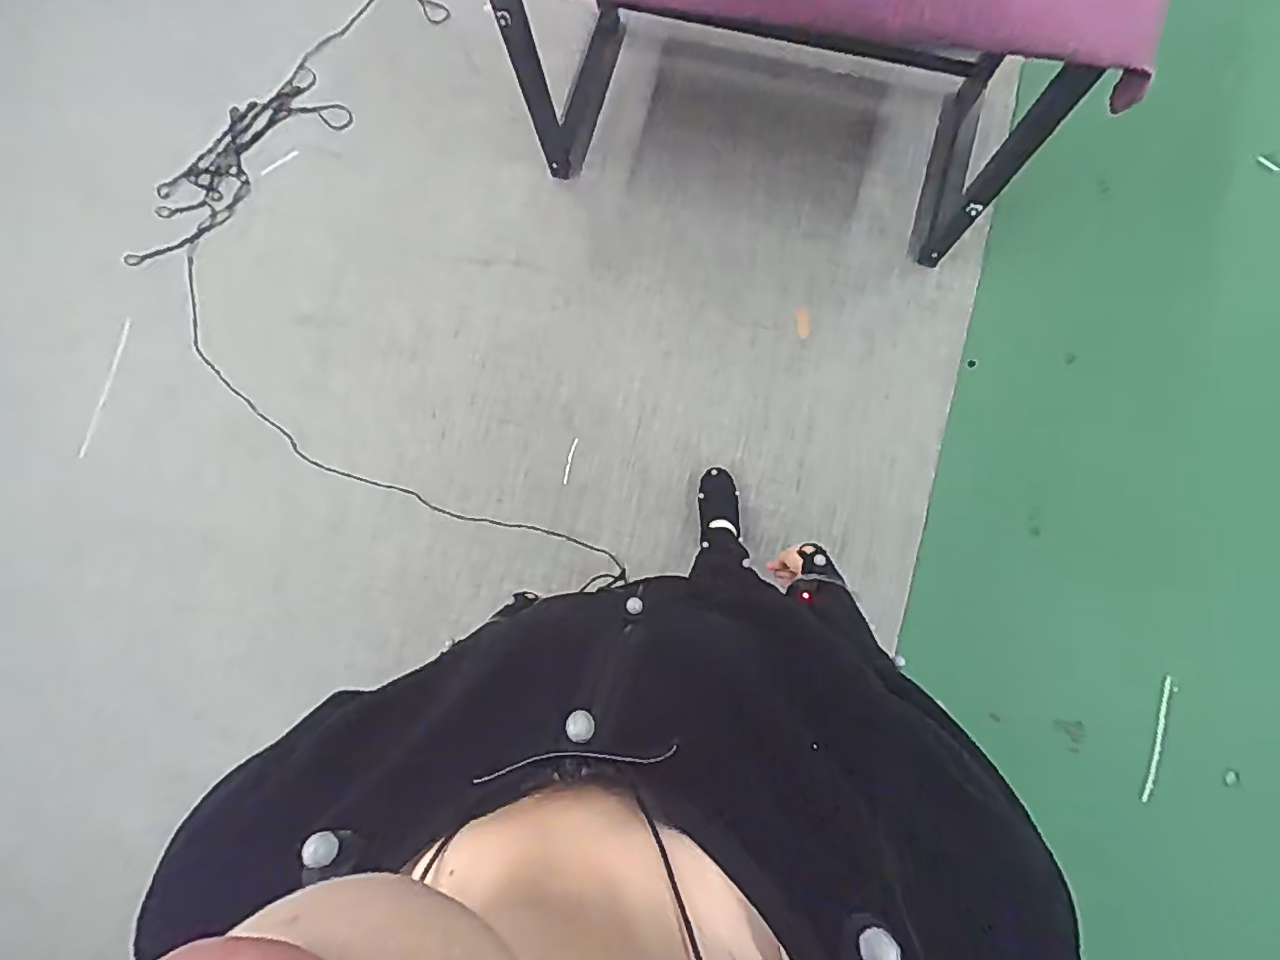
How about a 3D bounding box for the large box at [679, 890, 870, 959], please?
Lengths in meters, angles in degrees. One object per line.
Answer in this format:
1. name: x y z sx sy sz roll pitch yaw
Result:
1. large box: 0.293 1.178 1.206 0.408 0.320 0.320 1 83 4
